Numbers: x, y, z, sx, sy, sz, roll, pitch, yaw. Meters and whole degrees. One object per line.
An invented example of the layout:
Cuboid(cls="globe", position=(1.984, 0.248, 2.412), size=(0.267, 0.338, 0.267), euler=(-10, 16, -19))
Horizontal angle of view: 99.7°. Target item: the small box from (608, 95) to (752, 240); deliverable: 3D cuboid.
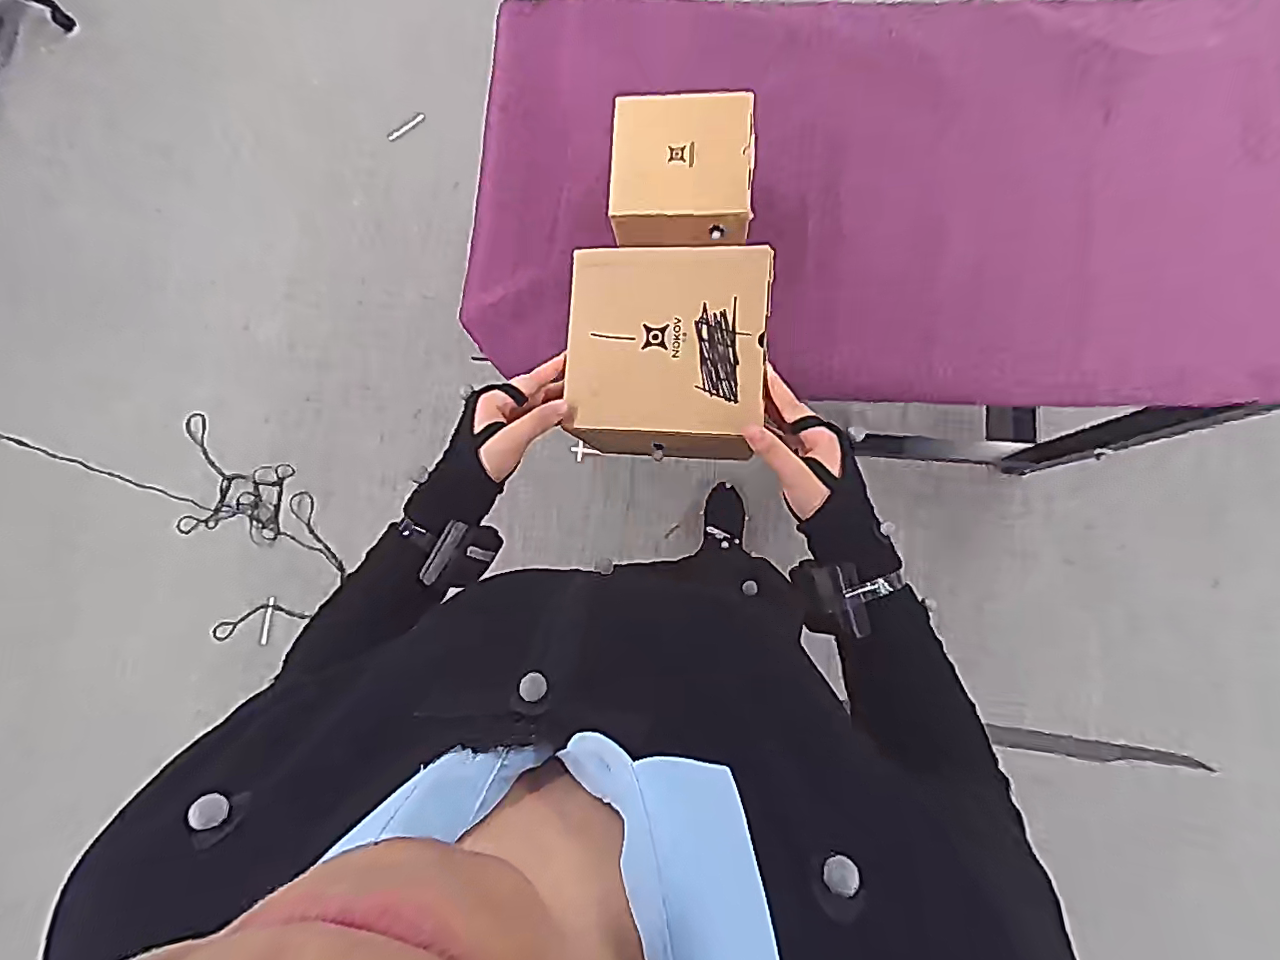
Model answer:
Cuboid(cls="small box", position=(0.059, -0.392, 0.752), size=(0.179, 0.176, 0.168), euler=(2, 82, 6))

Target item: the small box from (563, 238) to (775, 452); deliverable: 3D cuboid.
Cuboid(cls="small box", position=(0.035, -0.122, 0.545), size=(0.179, 0.176, 0.168), euler=(3, 85, 9))
